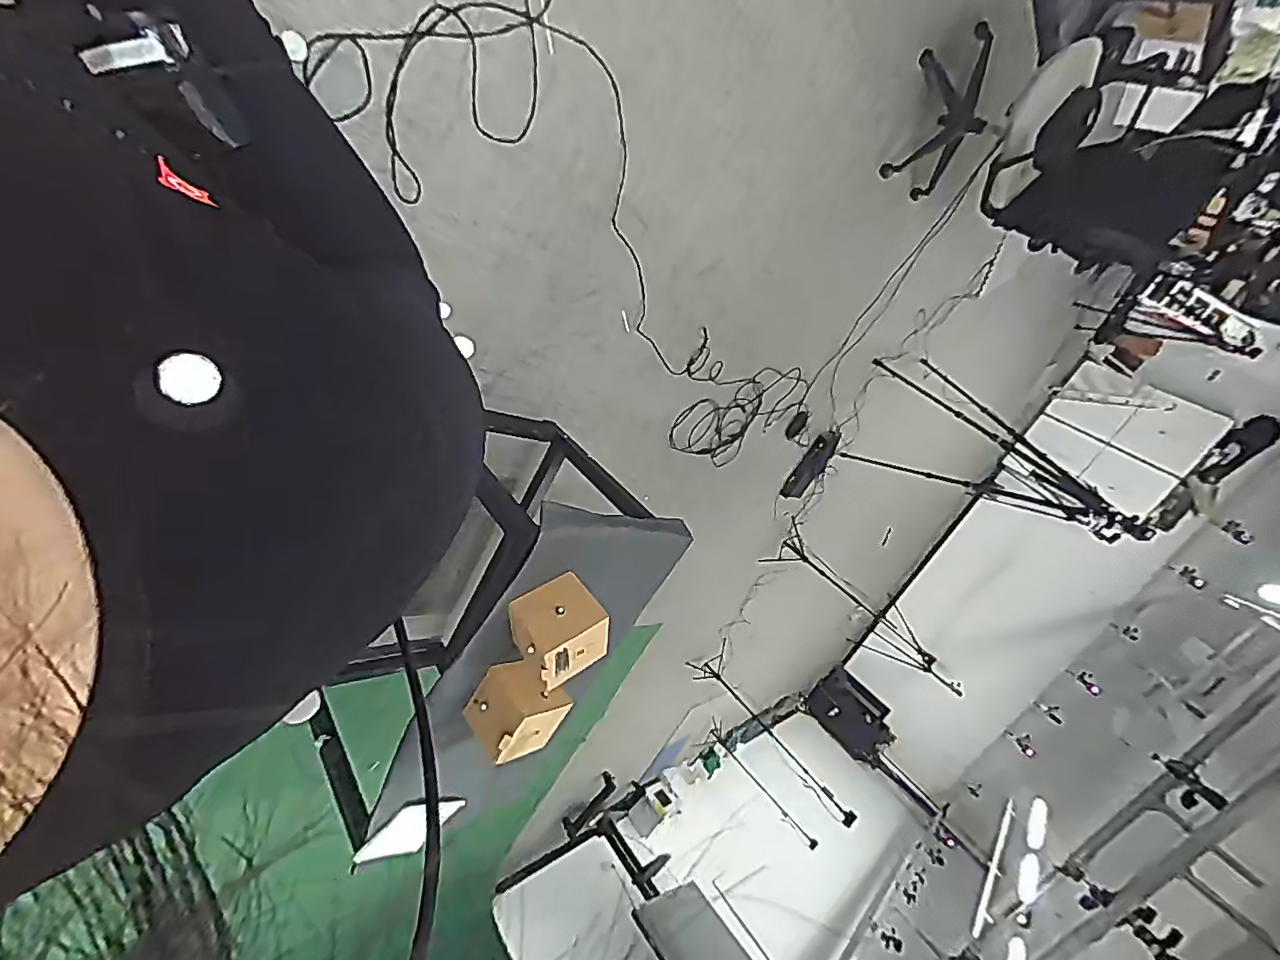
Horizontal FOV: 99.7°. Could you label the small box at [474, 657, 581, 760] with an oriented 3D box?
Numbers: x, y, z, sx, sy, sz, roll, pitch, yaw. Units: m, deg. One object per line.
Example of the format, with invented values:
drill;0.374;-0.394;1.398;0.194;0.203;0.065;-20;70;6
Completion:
small box;-0.294;0.579;1.400;0.179;0.176;0.168;13;113;-52
